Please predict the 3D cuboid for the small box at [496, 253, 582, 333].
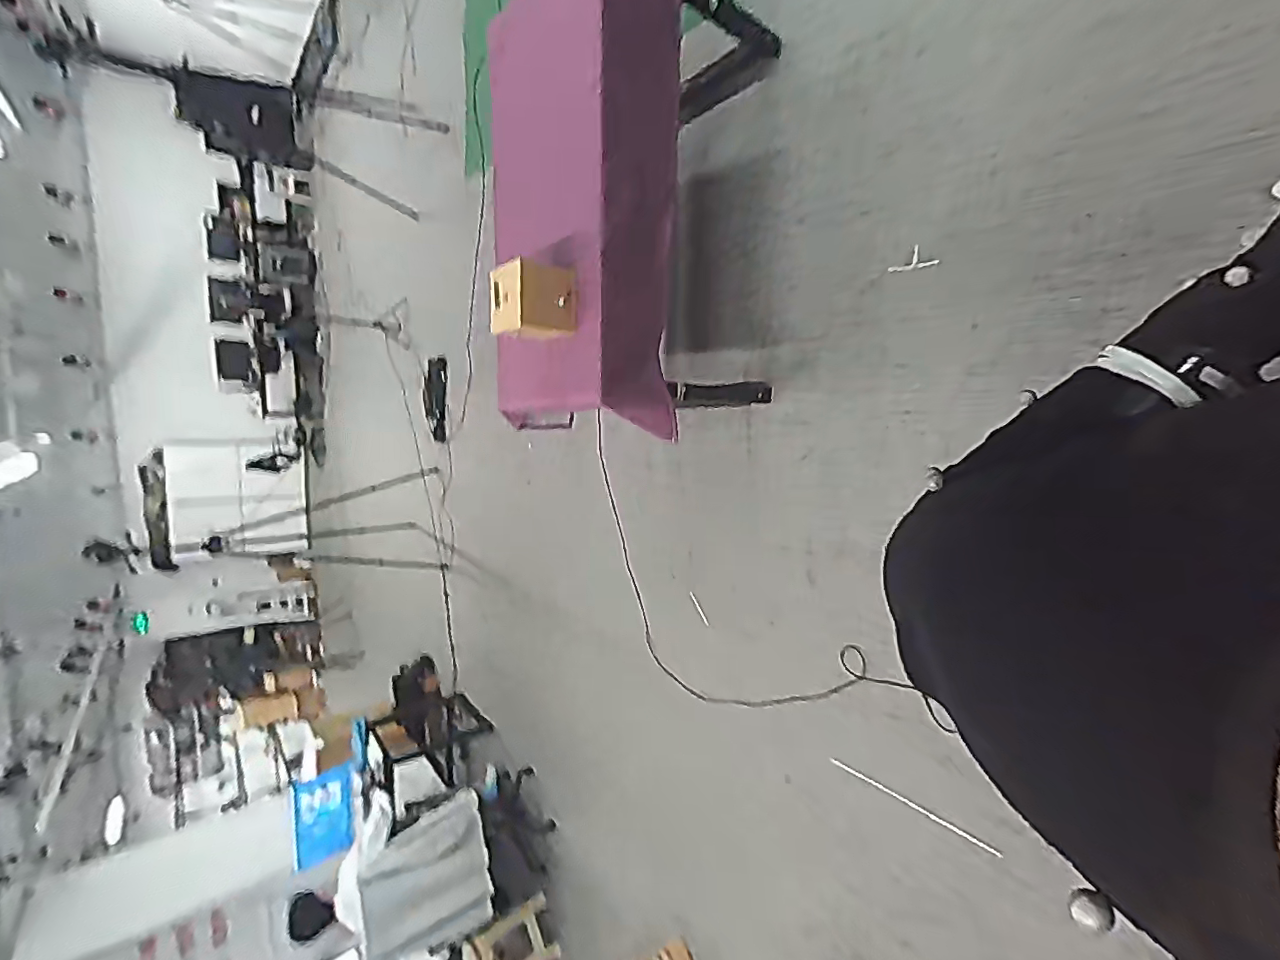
[{"bbox_3d":[-0.274,-0.494,1.458,0.179,0.176,0.168,10,101,49],"label":"small box"}]
